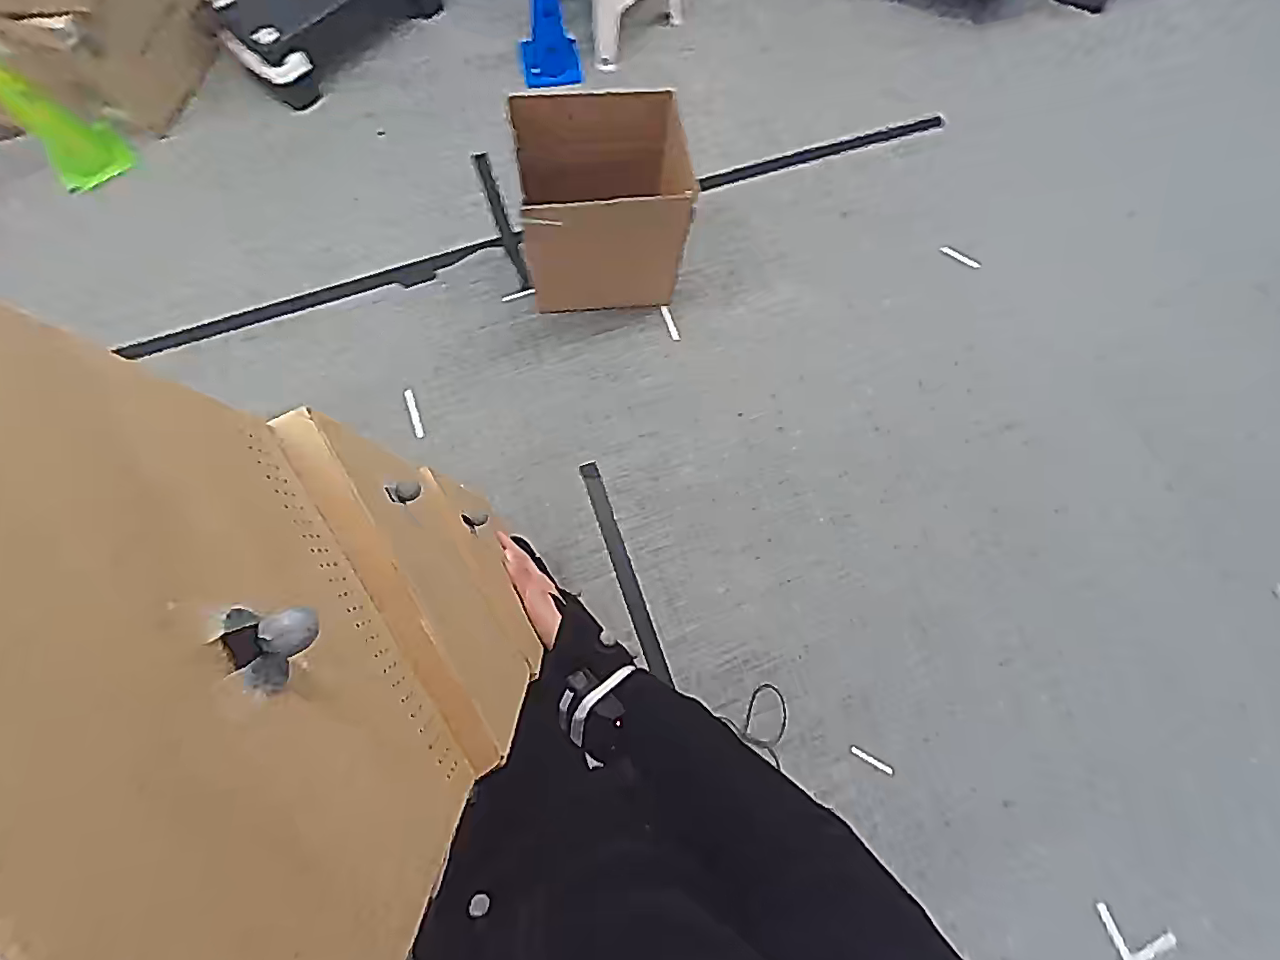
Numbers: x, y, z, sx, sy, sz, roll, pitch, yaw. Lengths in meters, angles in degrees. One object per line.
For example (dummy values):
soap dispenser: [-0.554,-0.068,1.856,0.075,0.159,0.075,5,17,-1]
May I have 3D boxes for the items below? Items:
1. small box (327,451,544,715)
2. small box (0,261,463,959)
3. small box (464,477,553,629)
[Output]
small box: [-0.191,0.100,0.448,0.168,0.176,0.179,-27,87,-10]
small box: [-0.164,0.067,0.121,0.168,0.176,0.179,-31,88,-10]
small box: [-0.209,0.117,0.612,0.168,0.176,0.179,-30,87,-10]
